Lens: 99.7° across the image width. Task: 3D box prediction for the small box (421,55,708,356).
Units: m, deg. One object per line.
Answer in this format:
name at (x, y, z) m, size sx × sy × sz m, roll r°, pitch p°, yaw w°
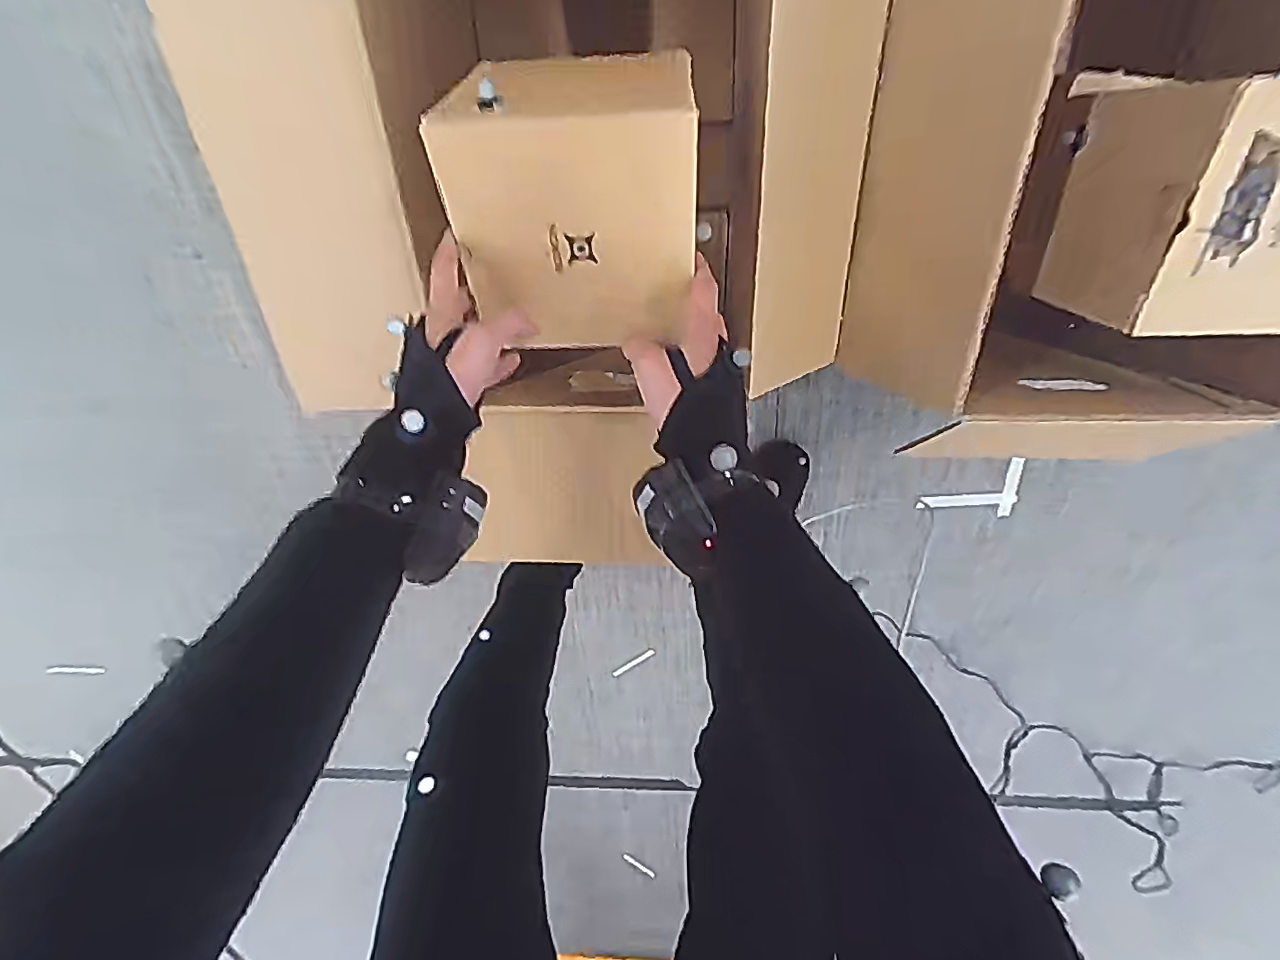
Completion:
small box at (-0.039, -0.216, 0.430) m, size 0.179 × 0.176 × 0.168 m, roll 0°, pitch 138°, yaw 5°
